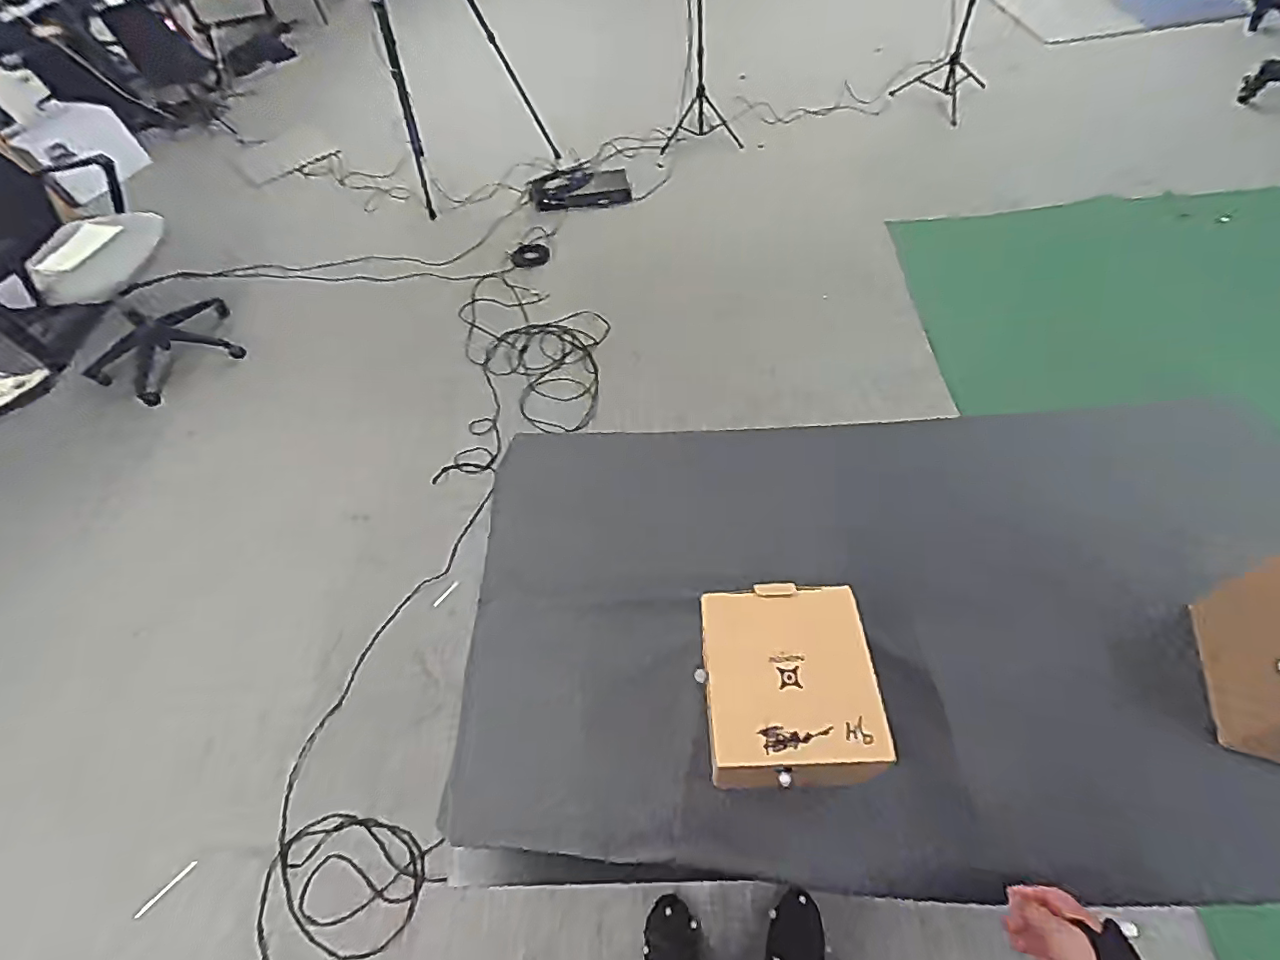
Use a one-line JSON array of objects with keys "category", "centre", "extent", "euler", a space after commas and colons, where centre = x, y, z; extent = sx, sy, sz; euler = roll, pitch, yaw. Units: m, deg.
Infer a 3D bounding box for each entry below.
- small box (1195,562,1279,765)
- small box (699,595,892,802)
[{"category": "small box", "centre": [0.731, 0.202, 0.546], "extent": [0.168, 0.176, 0.179], "euler": [13, 56, 16]}, {"category": "small box", "centre": [0.153, 0.246, 0.602], "extent": [0.168, 0.176, 0.179], "euler": [-5, 53, 5]}]
